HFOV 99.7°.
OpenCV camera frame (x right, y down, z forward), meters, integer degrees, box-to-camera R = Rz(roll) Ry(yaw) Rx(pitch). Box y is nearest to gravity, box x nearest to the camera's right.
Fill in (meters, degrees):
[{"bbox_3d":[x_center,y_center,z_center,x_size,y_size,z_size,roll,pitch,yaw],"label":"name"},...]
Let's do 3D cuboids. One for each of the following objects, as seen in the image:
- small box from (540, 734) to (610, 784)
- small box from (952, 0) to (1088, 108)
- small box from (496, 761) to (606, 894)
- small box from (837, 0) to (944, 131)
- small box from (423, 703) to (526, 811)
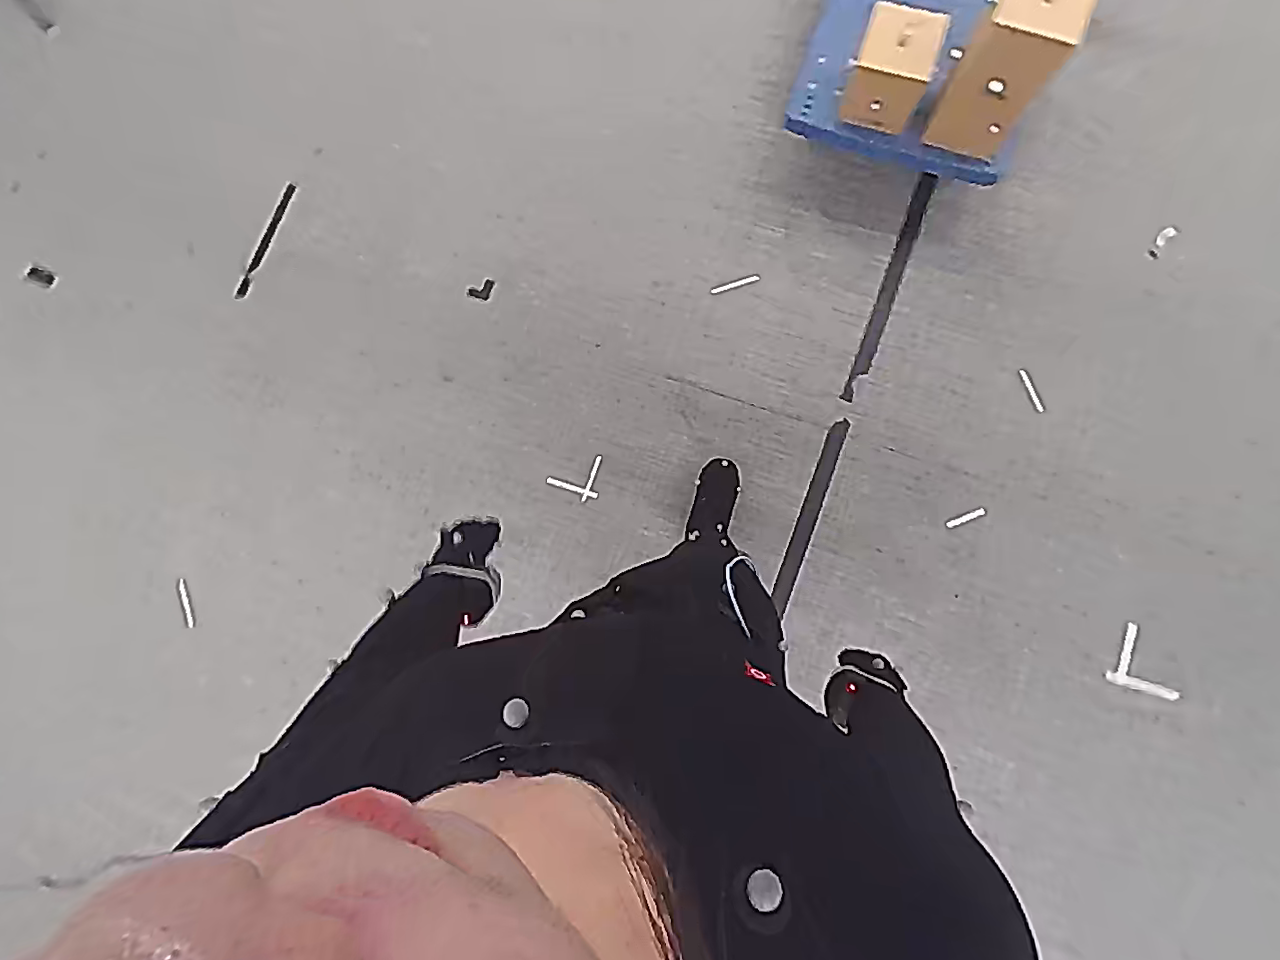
[{"bbox_3d":[-0.183,0.785,1.377,0.168,0.176,0.179,20,85,5],"label":"small box"},{"bbox_3d":[0.792,-0.937,1.132,0.168,0.176,0.179,21,86,6],"label":"small box"},{"bbox_3d":[-0.192,0.764,1.214,0.179,0.176,0.168,19,86,5],"label":"small box"},{"bbox_3d":[0.600,-1.000,1.318,0.168,0.176,0.179,18,85,5],"label":"small box"},{"bbox_3d":[-0.420,0.707,1.404,0.179,0.176,0.168,22,86,7],"label":"small box"}]
